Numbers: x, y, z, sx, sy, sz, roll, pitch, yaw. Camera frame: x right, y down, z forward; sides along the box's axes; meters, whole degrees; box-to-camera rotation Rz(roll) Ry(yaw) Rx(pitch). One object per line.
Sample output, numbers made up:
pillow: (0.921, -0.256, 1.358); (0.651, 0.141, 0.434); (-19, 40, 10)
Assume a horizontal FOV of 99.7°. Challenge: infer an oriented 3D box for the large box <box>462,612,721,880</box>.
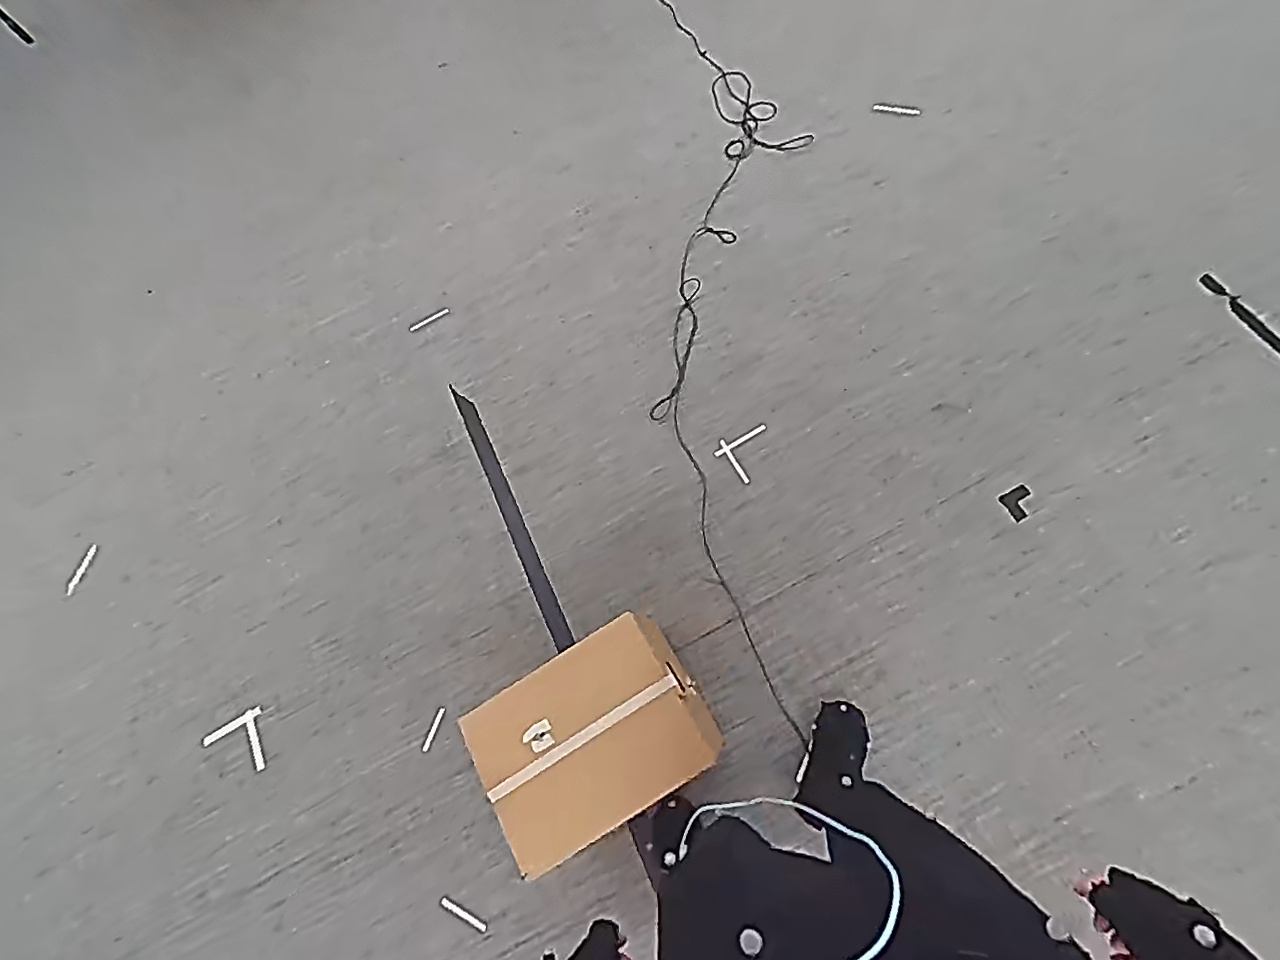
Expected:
large box: (-0.082, 0.527, 1.151); (0.408, 0.320, 0.320); (-33, 68, 0)
